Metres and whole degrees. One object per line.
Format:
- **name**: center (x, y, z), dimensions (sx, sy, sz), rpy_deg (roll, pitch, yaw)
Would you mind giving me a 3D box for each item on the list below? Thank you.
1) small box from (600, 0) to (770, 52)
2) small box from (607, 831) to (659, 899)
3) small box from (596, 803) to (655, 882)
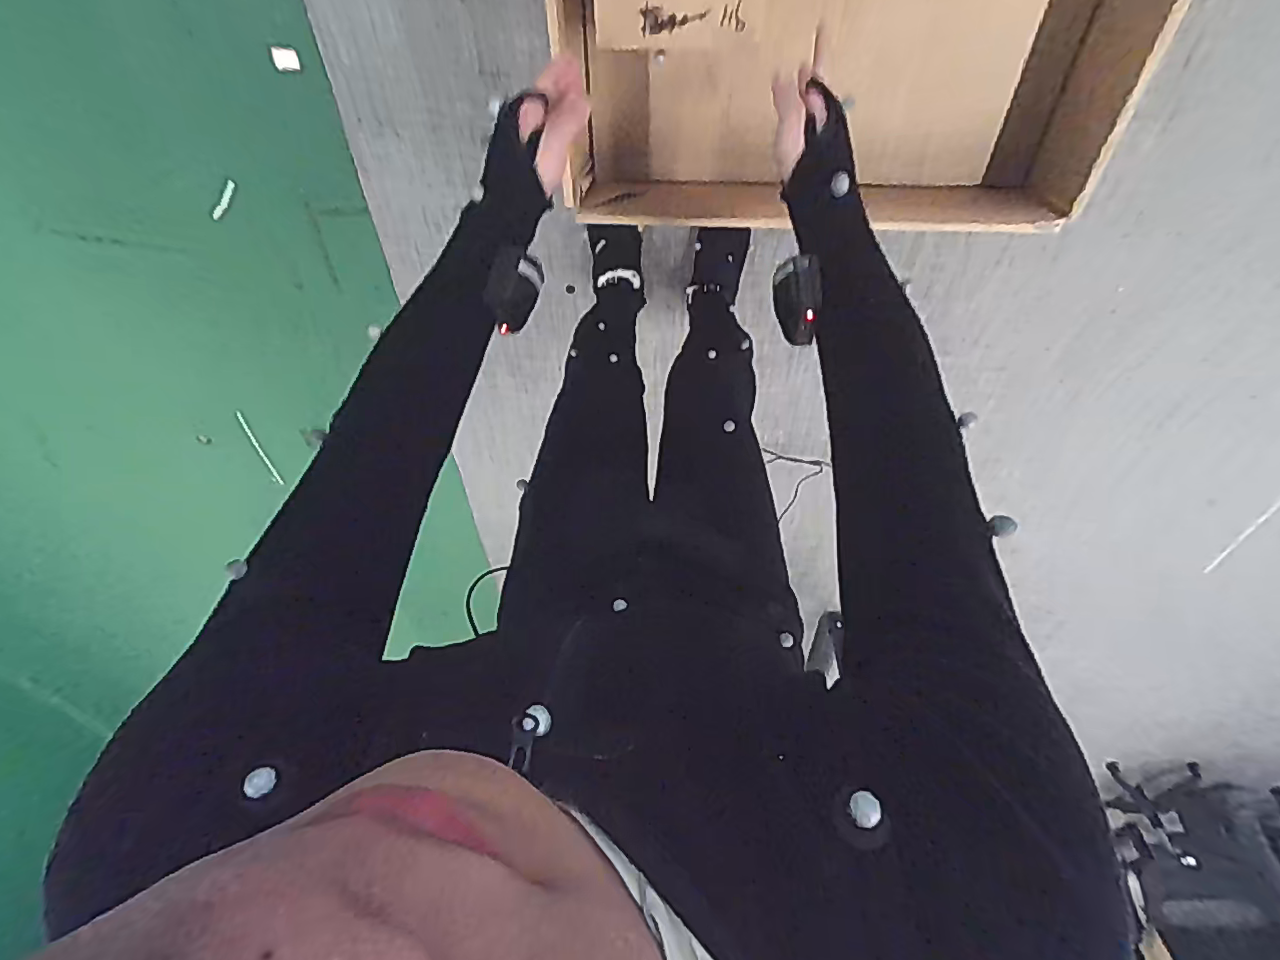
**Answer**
- **small box**: center (0.049, -0.549, 0.540), dimensions (0.168, 0.176, 0.179), rpy_deg (4, 133, 2)
- **small box**: center (-0.020, 1.340, 1.892), dimensions (0.168, 0.176, 0.179), rpy_deg (0, 132, 4)
- **small box**: center (-0.041, 1.147, 1.713), dimensions (0.168, 0.176, 0.179), rpy_deg (1, 133, 5)
